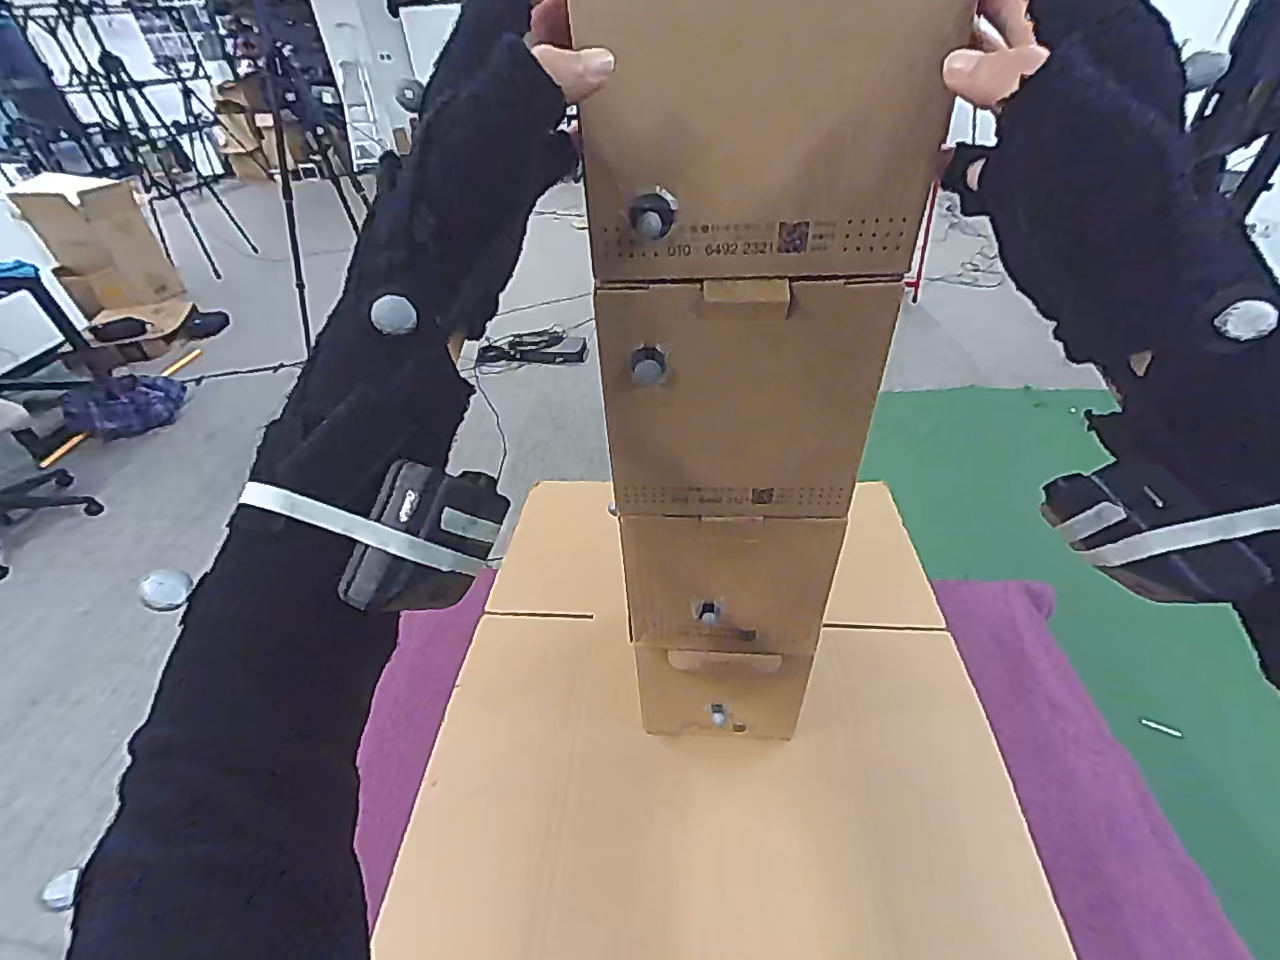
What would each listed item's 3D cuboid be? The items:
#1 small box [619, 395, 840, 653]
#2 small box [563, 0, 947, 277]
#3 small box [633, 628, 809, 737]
[{"bbox_3d":[0.074,0.036,0.511,0.168,0.176,0.179,1,39,5],"label":"small box"},{"bbox_3d":[0.057,-0.223,0.307,0.168,0.176,0.179,1,38,6],"label":"small box"},{"bbox_3d":[0.085,0.162,0.614,0.168,0.176,0.179,0,39,6],"label":"small box"}]
